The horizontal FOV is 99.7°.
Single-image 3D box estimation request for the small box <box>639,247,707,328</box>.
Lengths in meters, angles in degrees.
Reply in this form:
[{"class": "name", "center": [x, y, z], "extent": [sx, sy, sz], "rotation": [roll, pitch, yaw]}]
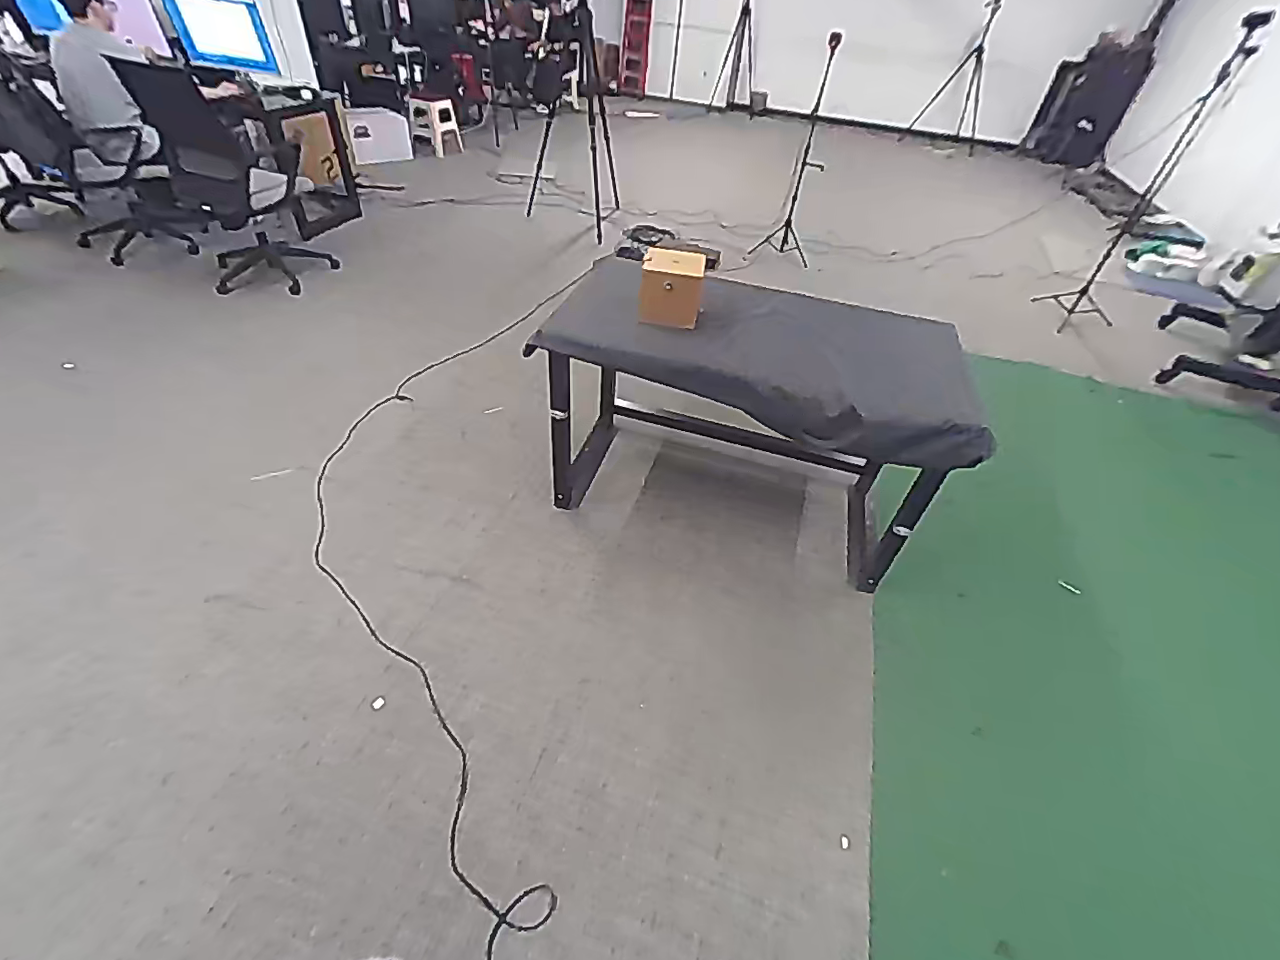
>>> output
[{"class": "small box", "center": [0.096, -0.570, 1.607], "extent": [0.179, 0.176, 0.168], "rotation": [10, 45, 1]}]
